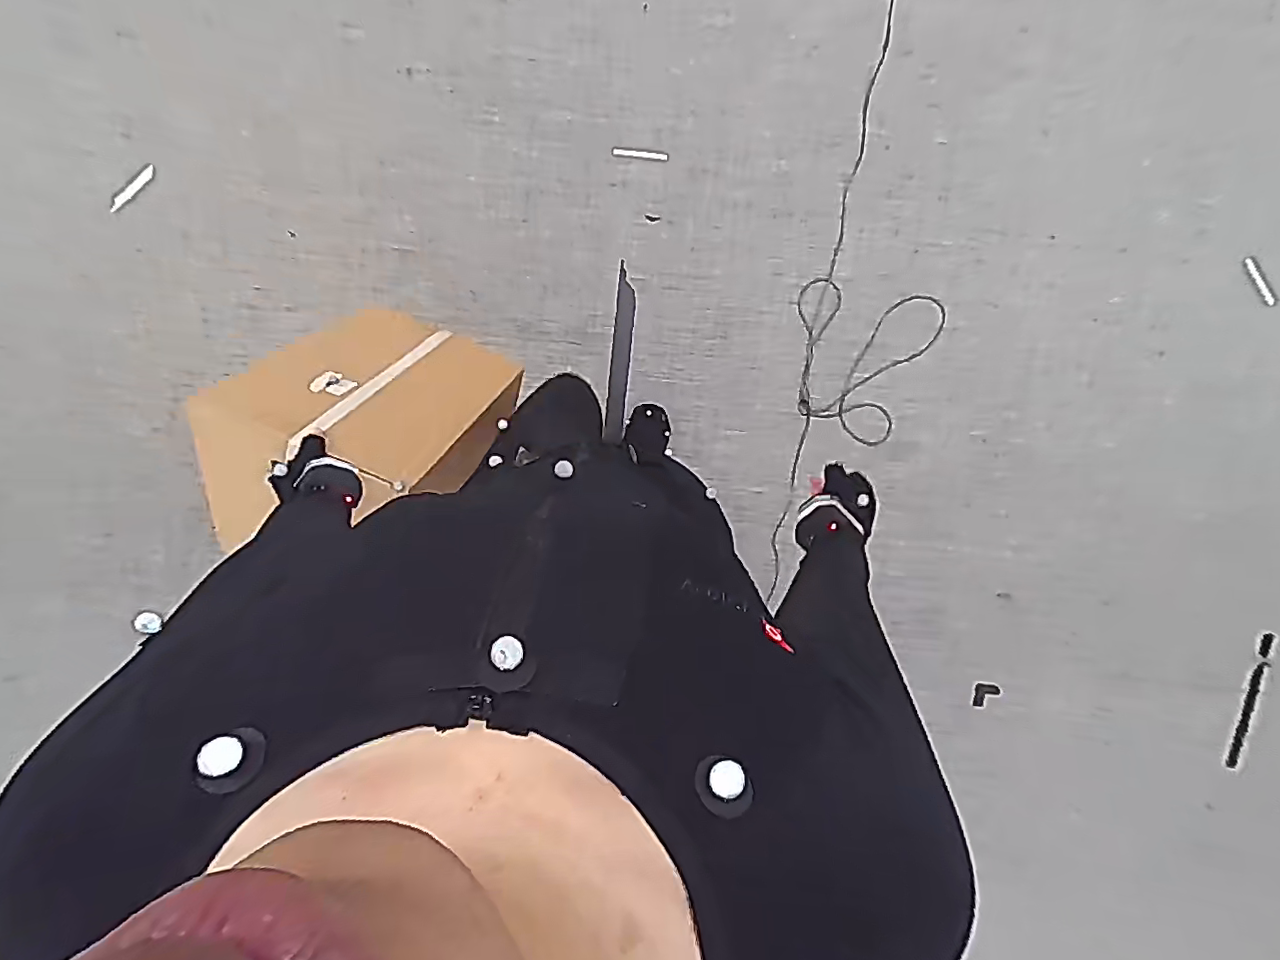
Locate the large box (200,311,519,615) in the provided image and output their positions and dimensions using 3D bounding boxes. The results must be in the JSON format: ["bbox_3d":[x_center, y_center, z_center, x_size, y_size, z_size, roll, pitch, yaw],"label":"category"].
[{"bbox_3d":[-0.458,-0.045,0.975,0.320,0.408,0.320,22,128,0],"label":"large box"}]
